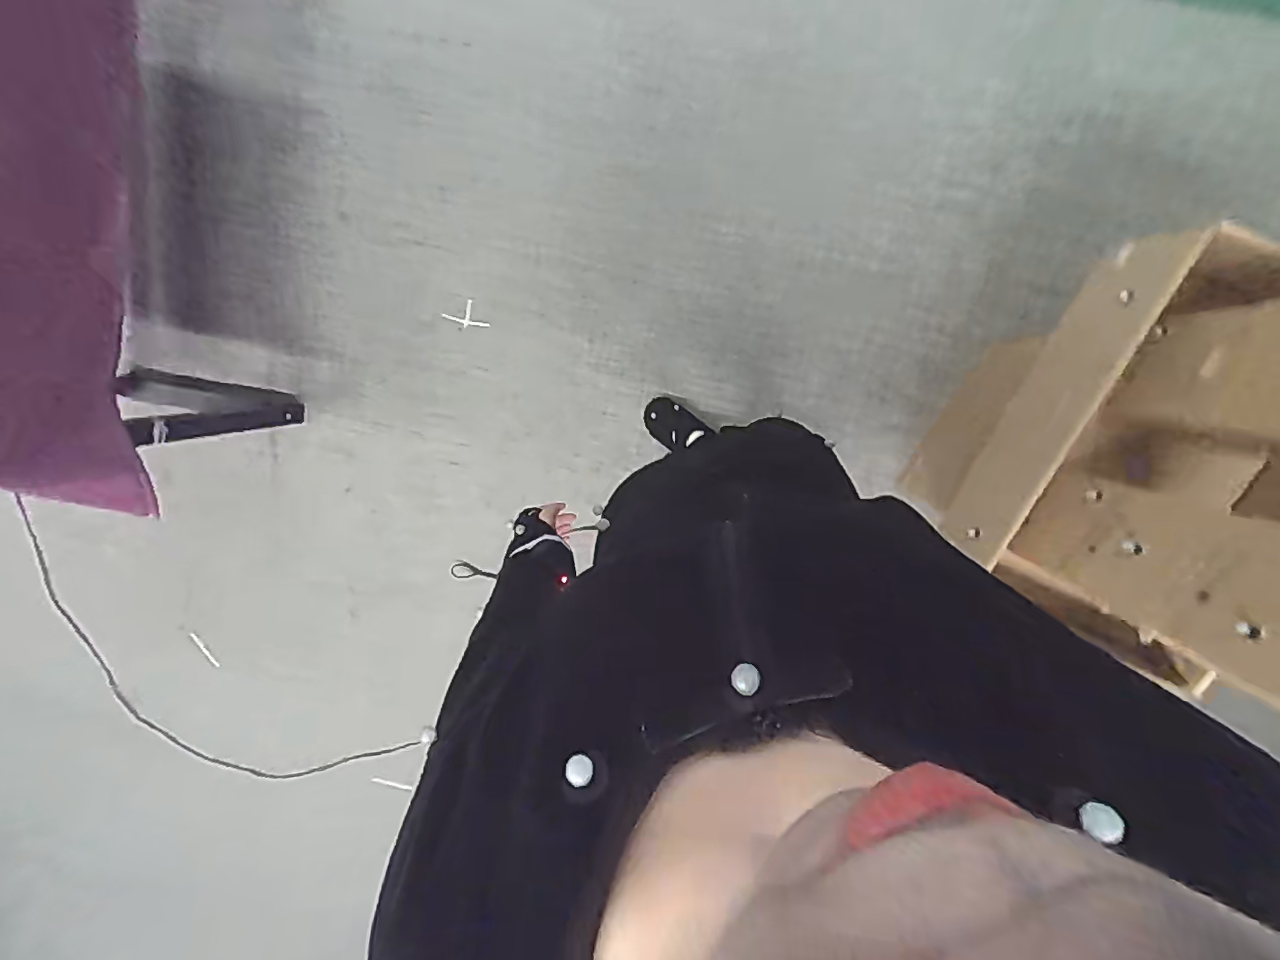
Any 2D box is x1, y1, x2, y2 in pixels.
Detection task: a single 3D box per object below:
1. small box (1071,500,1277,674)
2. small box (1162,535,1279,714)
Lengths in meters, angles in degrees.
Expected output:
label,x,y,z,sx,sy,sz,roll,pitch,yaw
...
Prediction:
label,x,y,z,sx,sy,sz,roll,pitch,yaw
small box,0.727,0.142,0.701,0.179,0.176,0.168,31,104,1
small box,0.707,0.173,0.541,0.179,0.176,0.168,32,104,-1
